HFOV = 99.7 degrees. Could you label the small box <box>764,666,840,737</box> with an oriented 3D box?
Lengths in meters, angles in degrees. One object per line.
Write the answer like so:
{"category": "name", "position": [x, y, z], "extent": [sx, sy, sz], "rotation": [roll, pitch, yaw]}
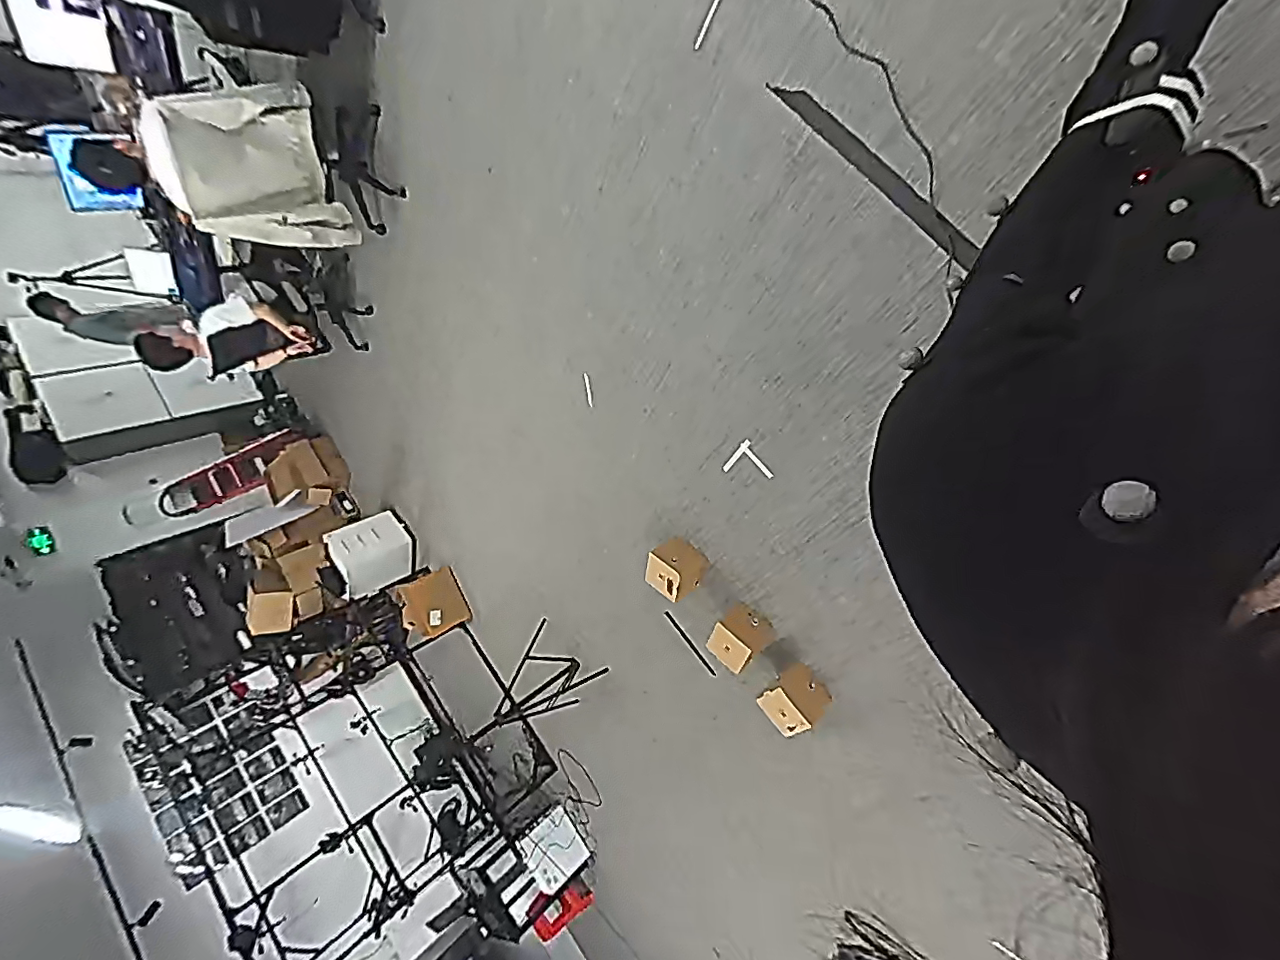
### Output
{"category": "small box", "position": [0.612, 0.829, 2.042], "extent": [0.179, 0.176, 0.168], "rotation": [51, 139, 15]}

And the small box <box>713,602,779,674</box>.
{"category": "small box", "position": [0.421, 0.622, 2.137], "extent": [0.168, 0.176, 0.179], "rotation": [37, 133, 27]}

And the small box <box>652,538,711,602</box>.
{"category": "small box", "position": [0.176, 0.370, 2.265], "extent": [0.179, 0.176, 0.168], "rotation": [33, 131, 33]}
